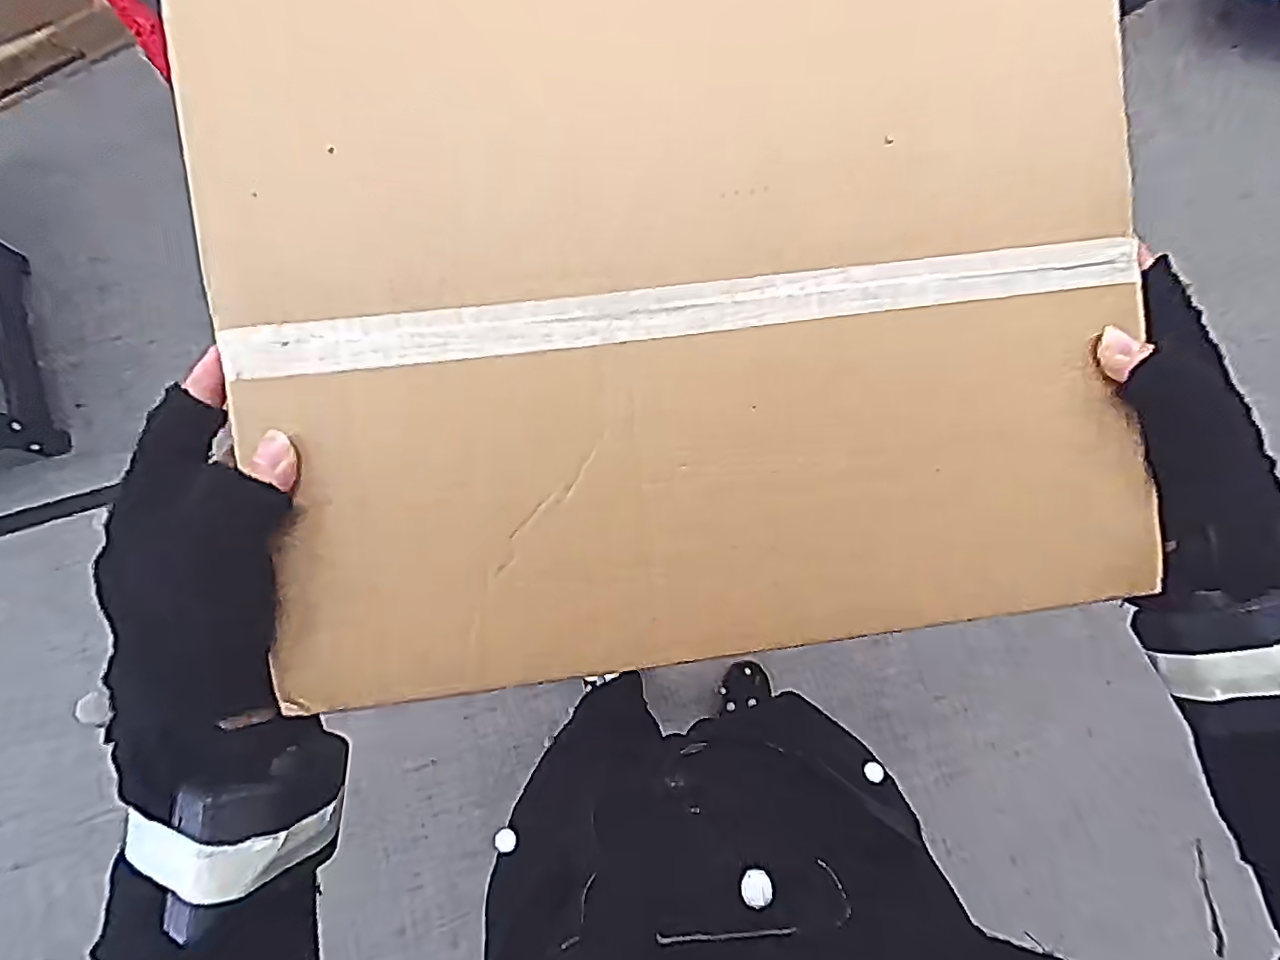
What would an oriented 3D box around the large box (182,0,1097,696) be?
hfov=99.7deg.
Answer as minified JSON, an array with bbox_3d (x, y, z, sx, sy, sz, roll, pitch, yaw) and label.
[{"bbox_3d":[0.010,-0.086,0.399,0.408,0.320,0.320,-7,93,-4],"label":"large box"}]
